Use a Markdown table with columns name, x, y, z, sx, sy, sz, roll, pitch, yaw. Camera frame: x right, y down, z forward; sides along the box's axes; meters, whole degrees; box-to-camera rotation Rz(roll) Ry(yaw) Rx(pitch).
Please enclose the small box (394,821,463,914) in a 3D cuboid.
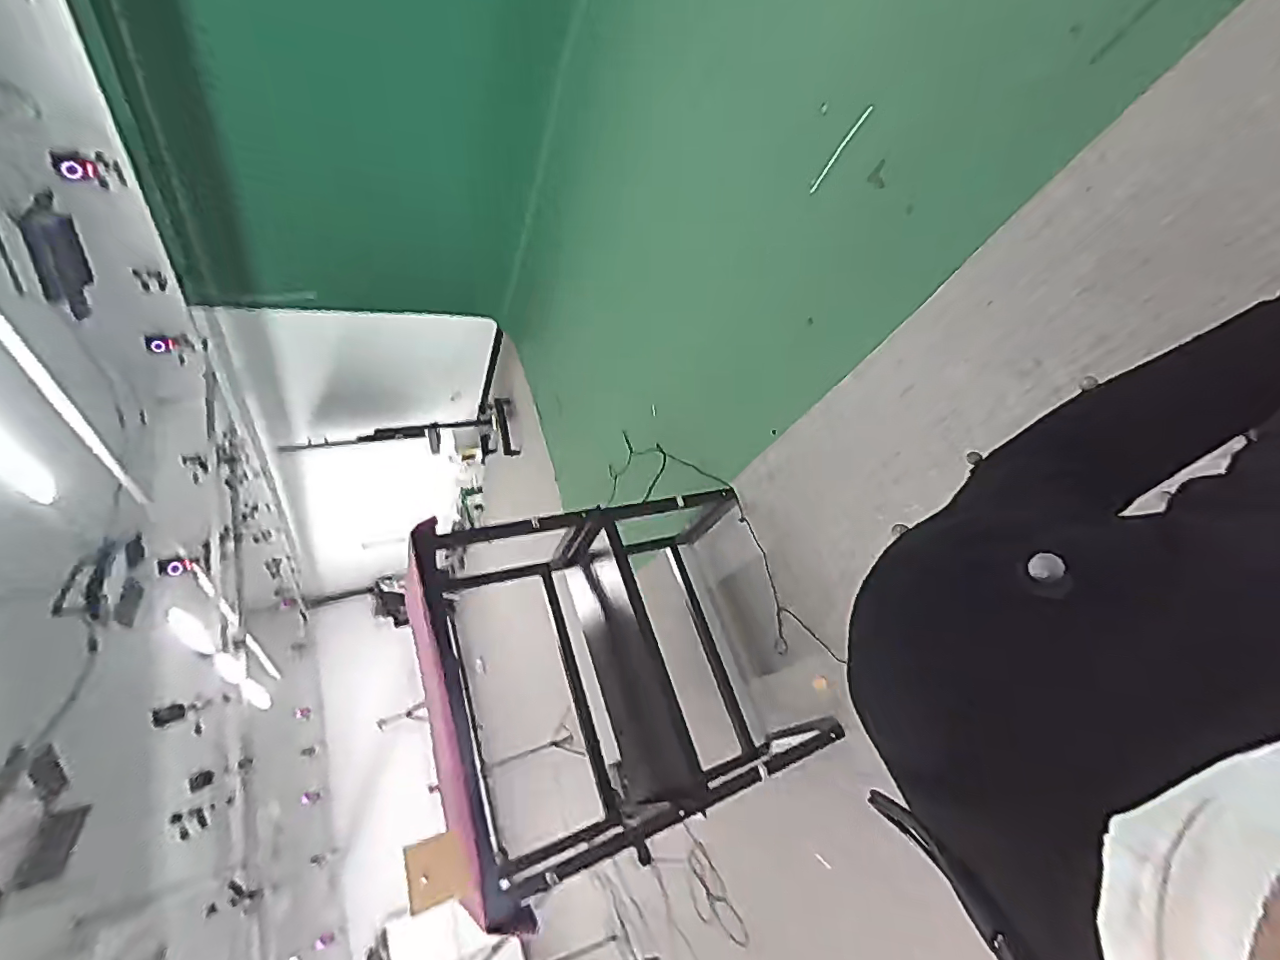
| name | x | y | z | sx | sy | sz | roll | pitch | yaw |
| --- | --- | --- | --- | --- | --- | --- | --- | --- | --- |
| small box | -0.630 | 1.146 | 1.609 | 0.168 | 0.176 | 0.179 | -57 | 47 | 49 |
